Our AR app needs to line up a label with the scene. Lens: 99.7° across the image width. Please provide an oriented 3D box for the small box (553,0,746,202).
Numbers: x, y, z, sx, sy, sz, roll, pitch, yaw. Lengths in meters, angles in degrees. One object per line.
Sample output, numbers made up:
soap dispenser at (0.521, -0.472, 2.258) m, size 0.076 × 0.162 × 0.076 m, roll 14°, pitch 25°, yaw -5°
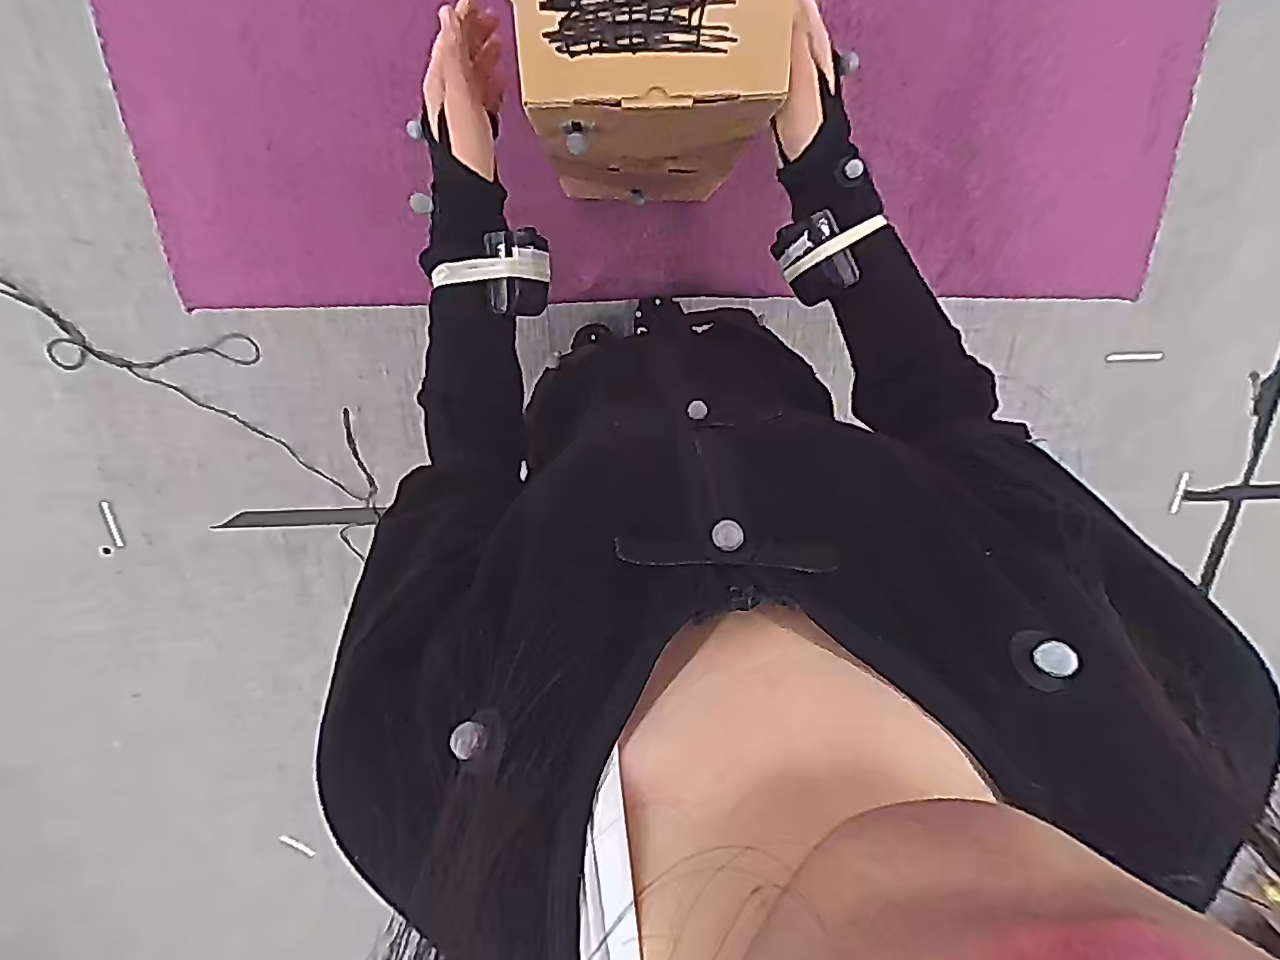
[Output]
small box at (0.003, -0.391, 0.540) m, size 0.168 × 0.176 × 0.179 m, roll 0°, pitch 109°, yaw -2°

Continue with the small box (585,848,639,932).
small box at (-0.099, 1.490, 1.968) m, size 0.168 × 0.176 × 0.179 m, roll -11°, pitch 110°, yaw 0°
